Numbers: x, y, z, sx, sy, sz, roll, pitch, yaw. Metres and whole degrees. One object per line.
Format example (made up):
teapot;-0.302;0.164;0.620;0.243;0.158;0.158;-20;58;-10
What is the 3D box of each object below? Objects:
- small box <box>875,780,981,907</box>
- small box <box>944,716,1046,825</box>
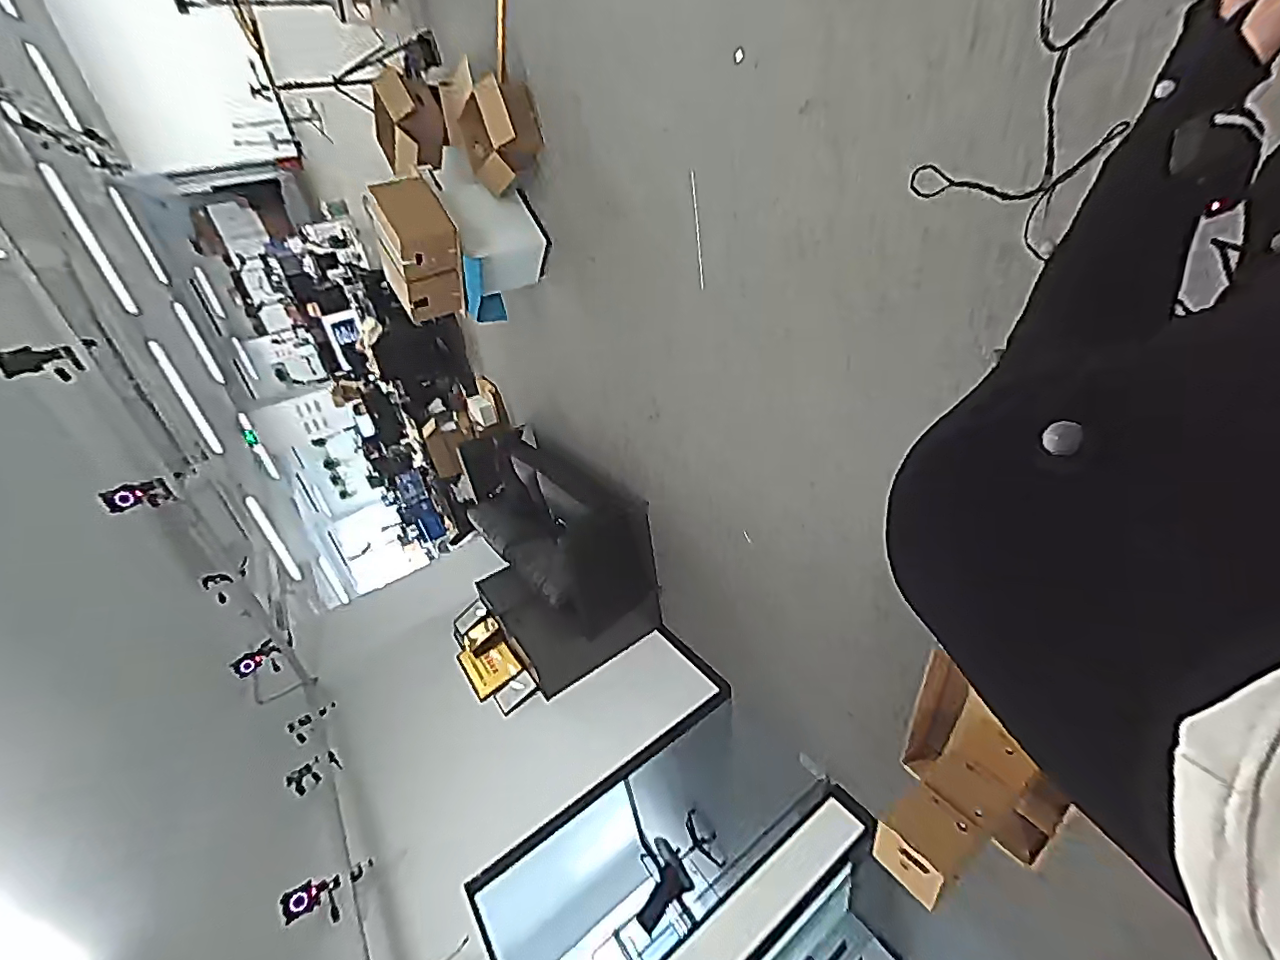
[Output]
small box;0.729;0.911;1.370;0.168;0.176;0.179;33;139;48
small box;1.002;0.815;1.528;0.168;0.176;0.179;35;139;47
